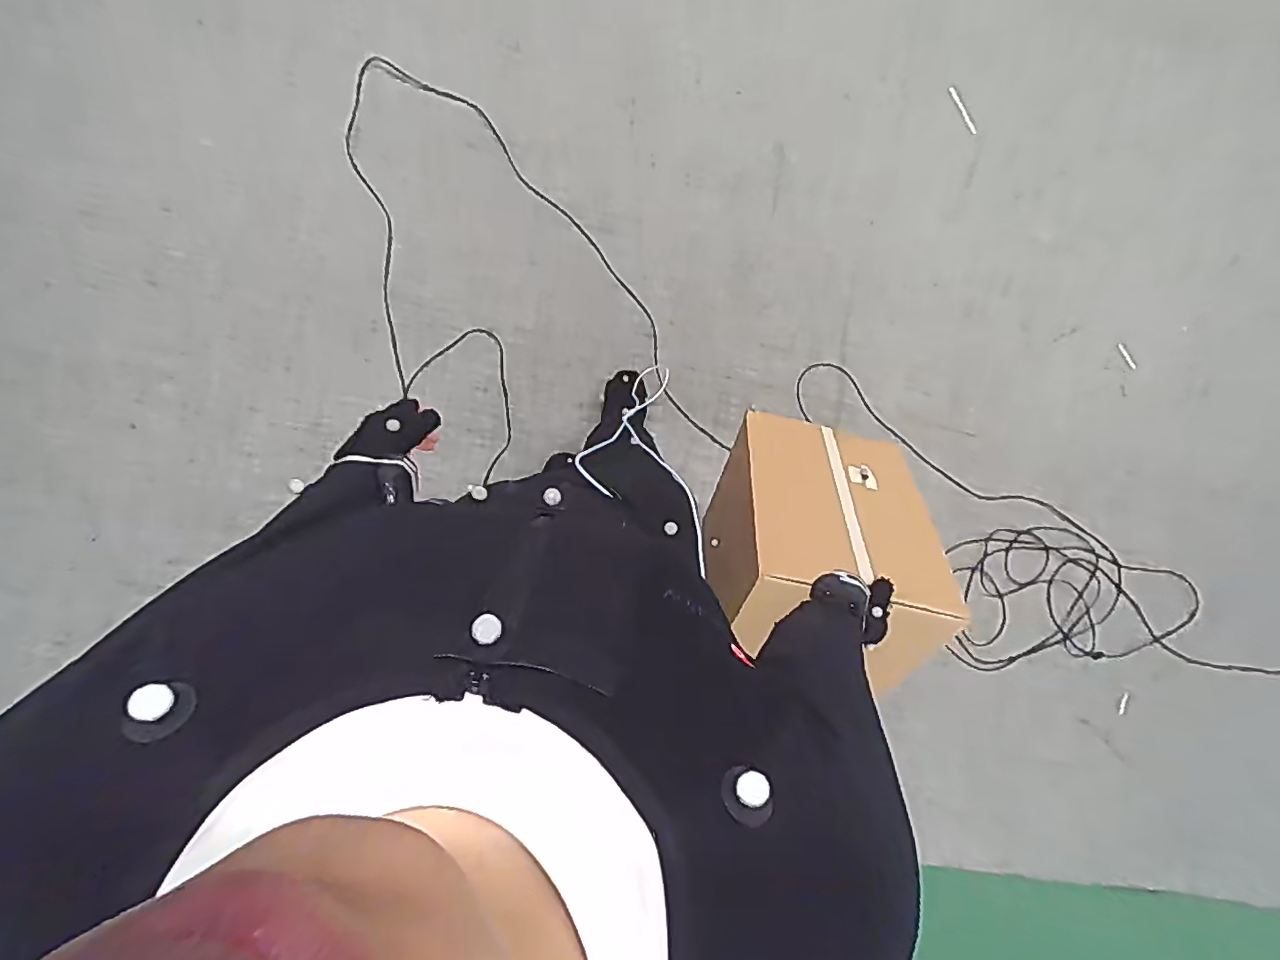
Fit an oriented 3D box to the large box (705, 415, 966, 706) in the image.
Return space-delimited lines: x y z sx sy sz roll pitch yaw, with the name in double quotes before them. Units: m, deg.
"large box" 0.307 0.142 1.004 0.320 0.408 0.320 13 131 -4
